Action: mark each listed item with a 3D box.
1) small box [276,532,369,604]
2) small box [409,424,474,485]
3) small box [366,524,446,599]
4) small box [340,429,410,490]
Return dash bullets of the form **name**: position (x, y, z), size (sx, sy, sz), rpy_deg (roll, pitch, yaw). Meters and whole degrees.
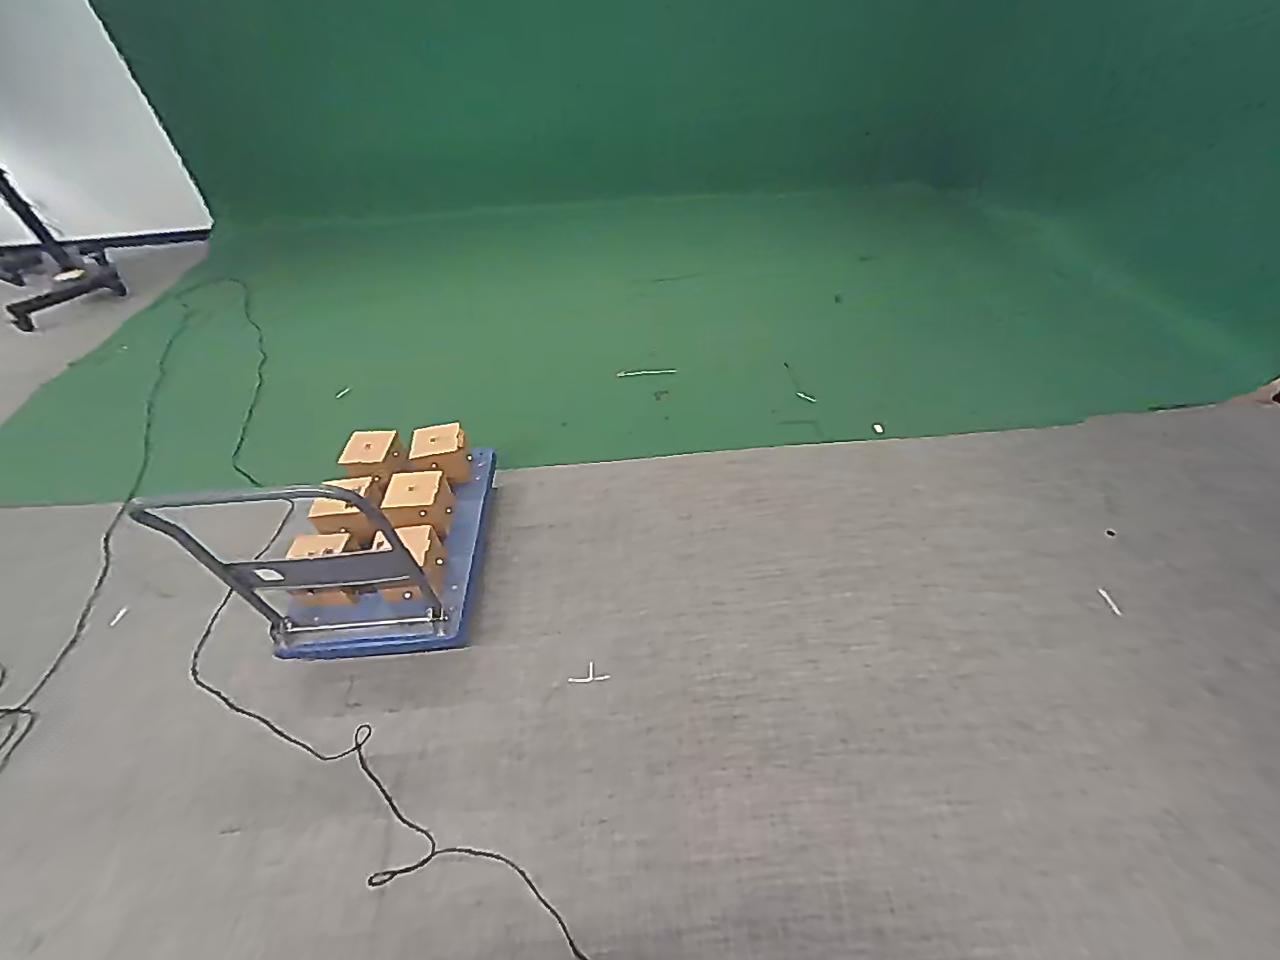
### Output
- **small box**: position (-0.997, 0.282, 1.721), size (0.179, 0.176, 0.168), rpy_deg (-3, 45, 2)
- **small box**: position (-0.752, -0.096, 2.067), size (0.179, 0.176, 0.168), rpy_deg (-3, 49, -1)
- **small box**: position (-0.734, 0.262, 1.723), size (0.179, 0.176, 0.168), rpy_deg (-6, 46, -2)
- **small box**: position (-1.004, -0.074, 2.068), size (0.168, 0.176, 0.179), rpy_deg (-1, 46, 1)
